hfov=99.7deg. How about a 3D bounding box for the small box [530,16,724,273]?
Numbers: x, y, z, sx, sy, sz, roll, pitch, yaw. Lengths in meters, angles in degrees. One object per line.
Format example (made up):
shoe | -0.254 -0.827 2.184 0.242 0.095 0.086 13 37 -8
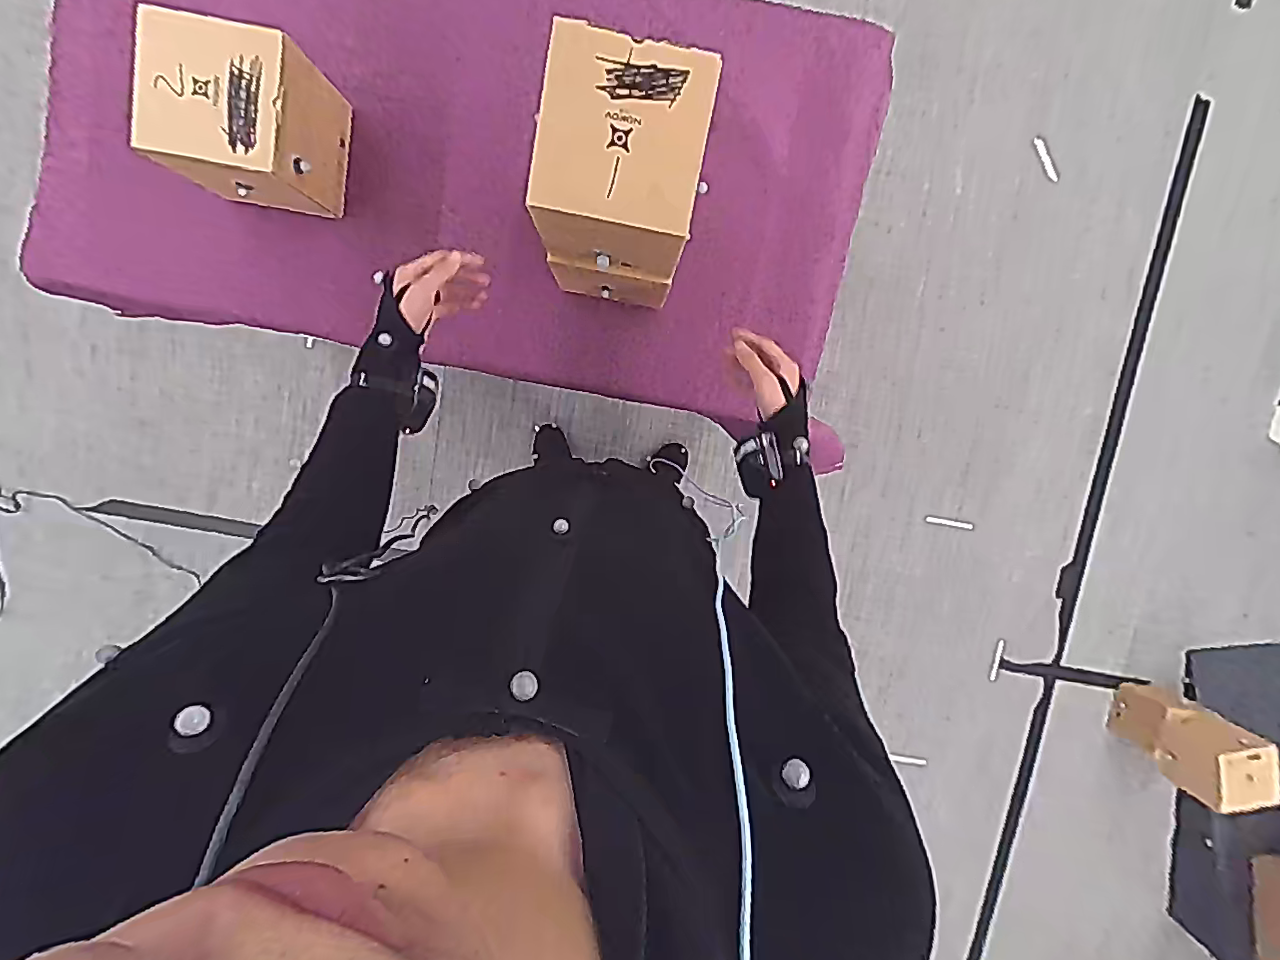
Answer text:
small box | -0.017 -0.355 0.610 0.168 0.176 0.179 11 98 -3

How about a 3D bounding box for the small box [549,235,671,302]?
small box | -0.026 -0.368 0.774 0.168 0.176 0.179 10 97 -4
